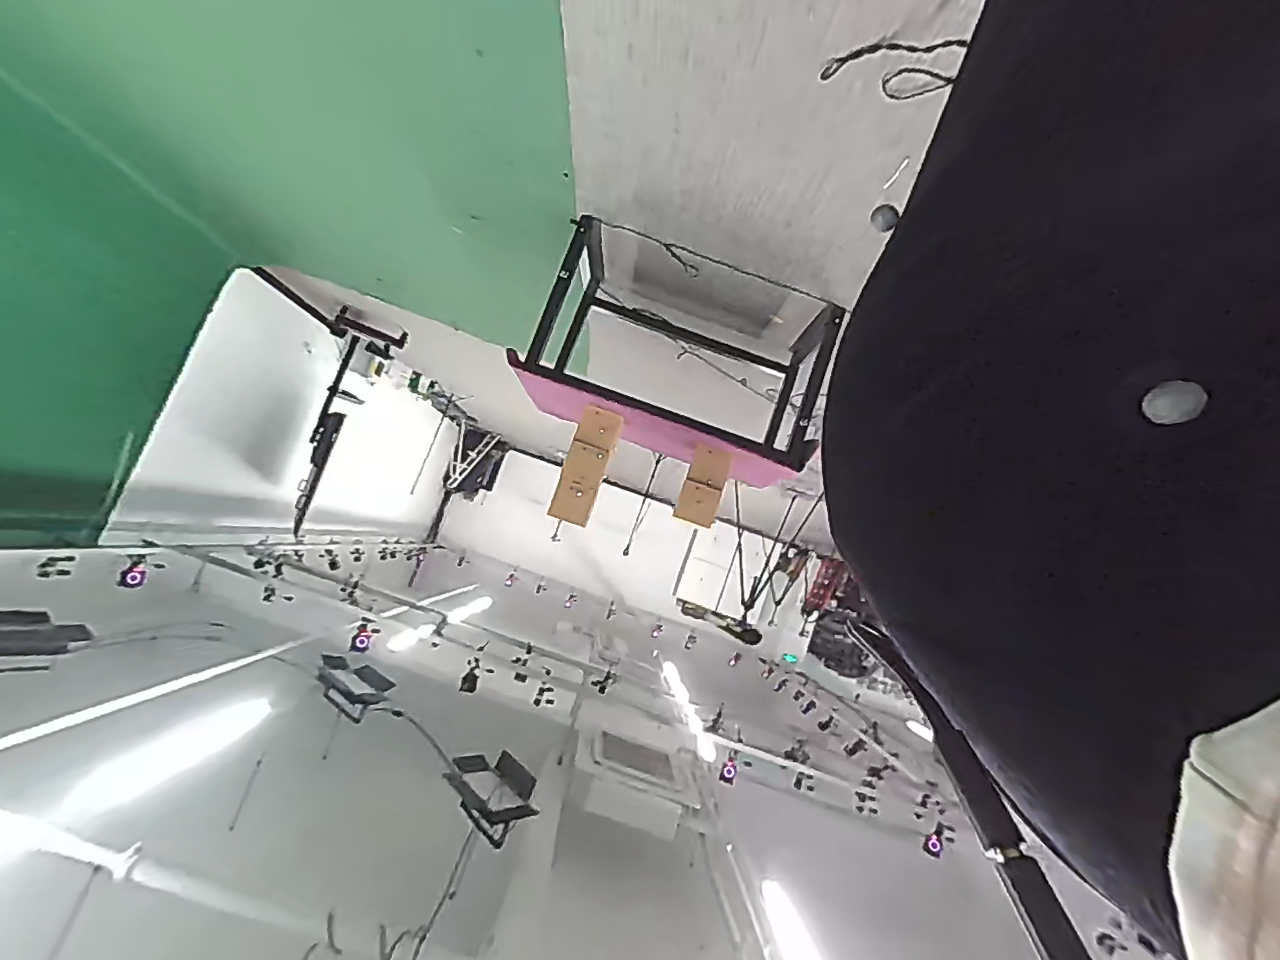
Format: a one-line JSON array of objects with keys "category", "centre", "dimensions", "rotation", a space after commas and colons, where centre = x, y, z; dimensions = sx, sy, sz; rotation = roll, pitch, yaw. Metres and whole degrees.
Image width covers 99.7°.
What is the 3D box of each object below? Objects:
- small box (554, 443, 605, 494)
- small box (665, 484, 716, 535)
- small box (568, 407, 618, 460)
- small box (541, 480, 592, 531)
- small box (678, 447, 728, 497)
[{"category": "small box", "centre": [-0.252, -0.047, 2.285], "dimensions": [0.168, 0.176, 0.179], "rotation": [20, 175, -1]}, {"category": "small box", "centre": [0.214, 0.123, 2.278], "dimensions": [0.168, 0.176, 0.179], "rotation": [20, 172, 4]}, {"category": "small box", "centre": [-0.196, -0.200, 2.312], "dimensions": [0.168, 0.176, 0.179], "rotation": [19, 174, 1]}, {"category": "small box", "centre": [-0.305, 0.107, 2.272], "dimensions": [0.168, 0.176, 0.179], "rotation": [19, 173, -2]}, {"category": "small box", "centre": [0.271, -0.028, 2.317], "dimensions": [0.168, 0.176, 0.179], "rotation": [19, 173, 5]}]
